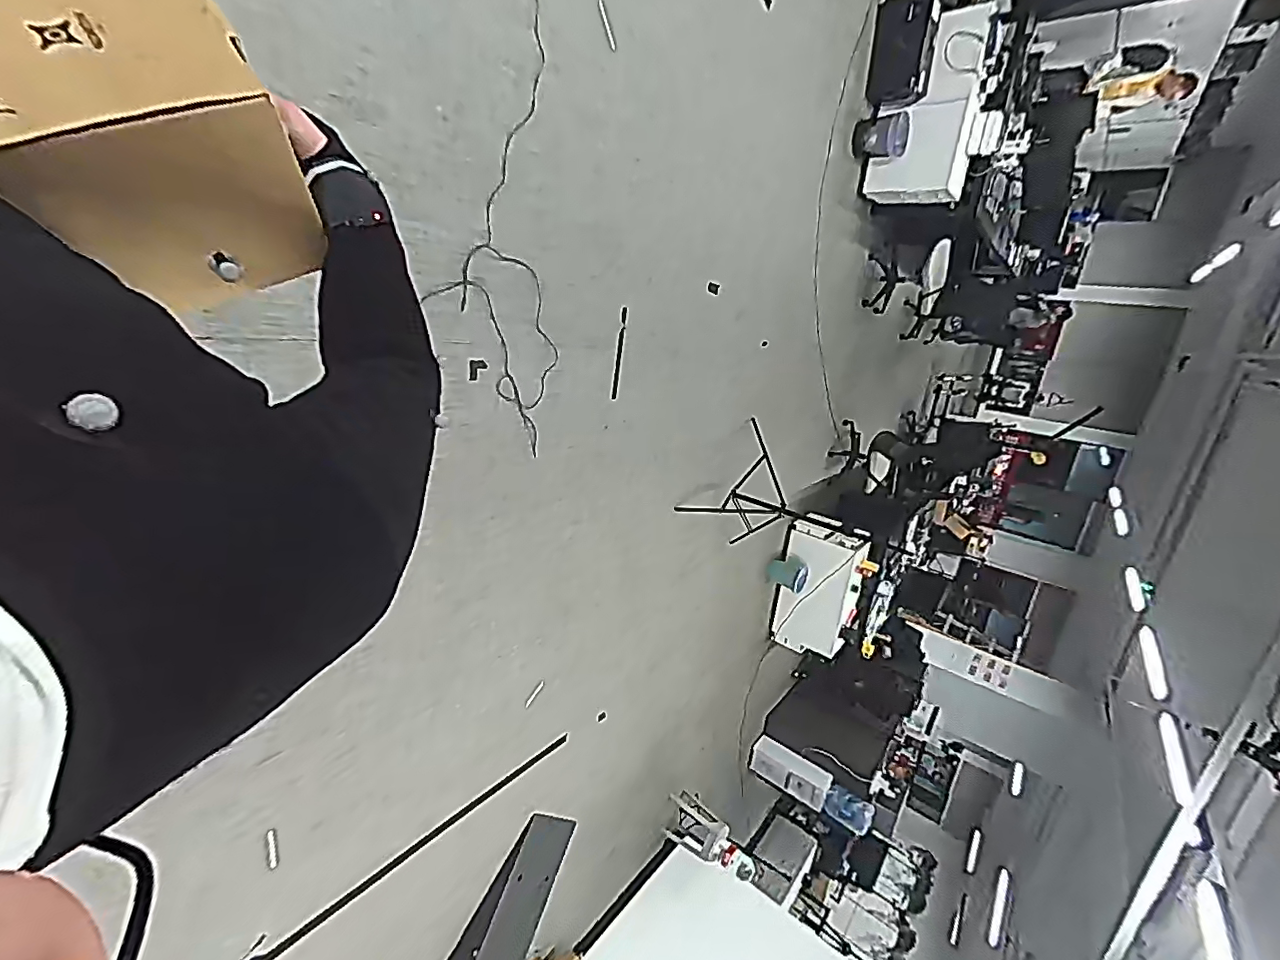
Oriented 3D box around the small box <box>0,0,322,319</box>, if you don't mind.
[{"bbox_3d":[-0.395,-0.268,0.448,0.179,0.168,0.176,-31,169,-23],"label":"small box"}]
